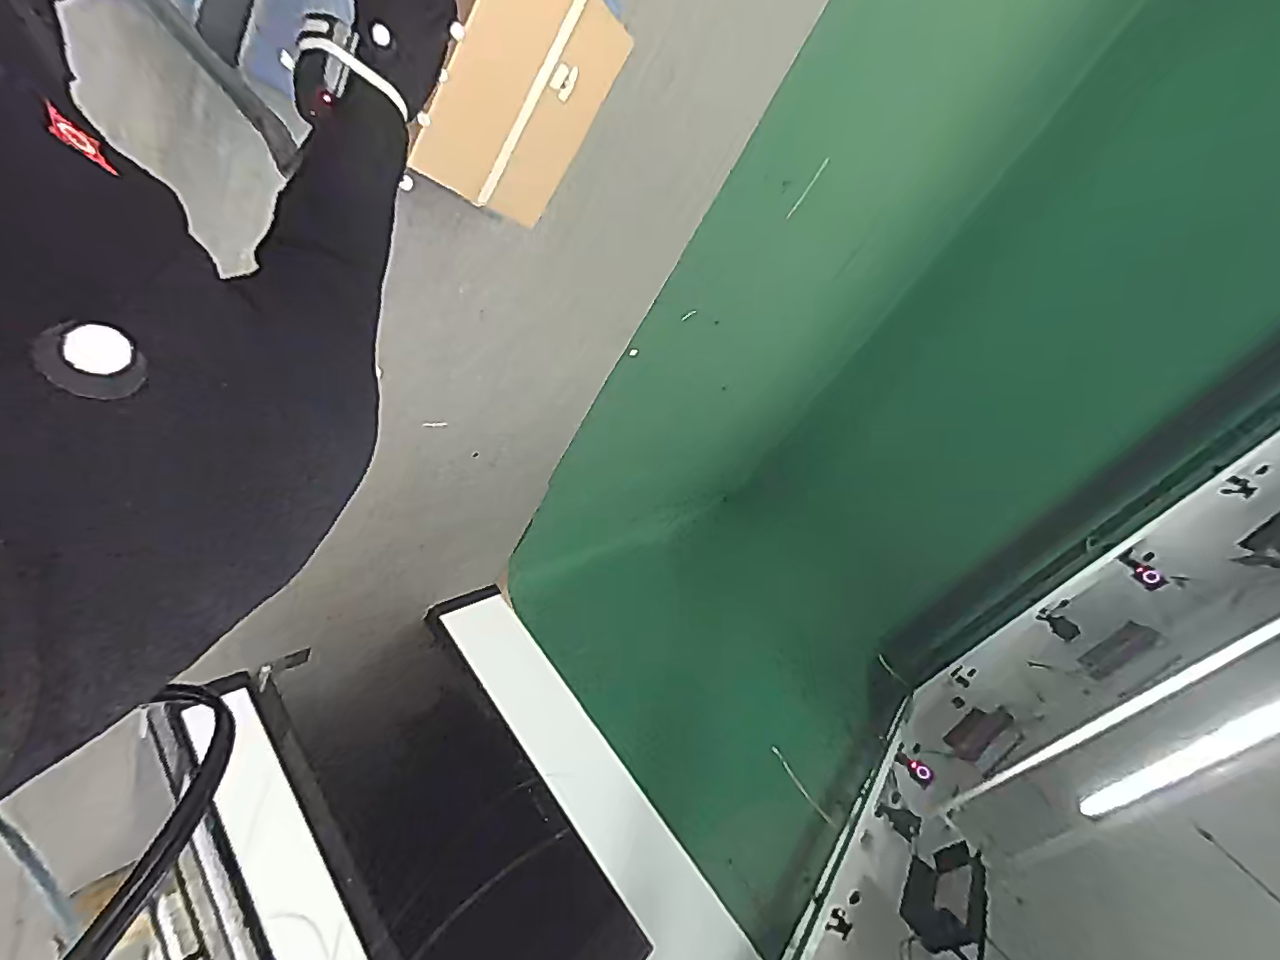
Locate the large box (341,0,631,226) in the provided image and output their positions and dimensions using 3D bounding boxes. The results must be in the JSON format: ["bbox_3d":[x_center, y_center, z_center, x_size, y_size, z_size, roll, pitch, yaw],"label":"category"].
[{"bbox_3d":[-0.300,-0.792,1.033,0.408,0.320,0.320,-53,157,22],"label":"large box"}]
